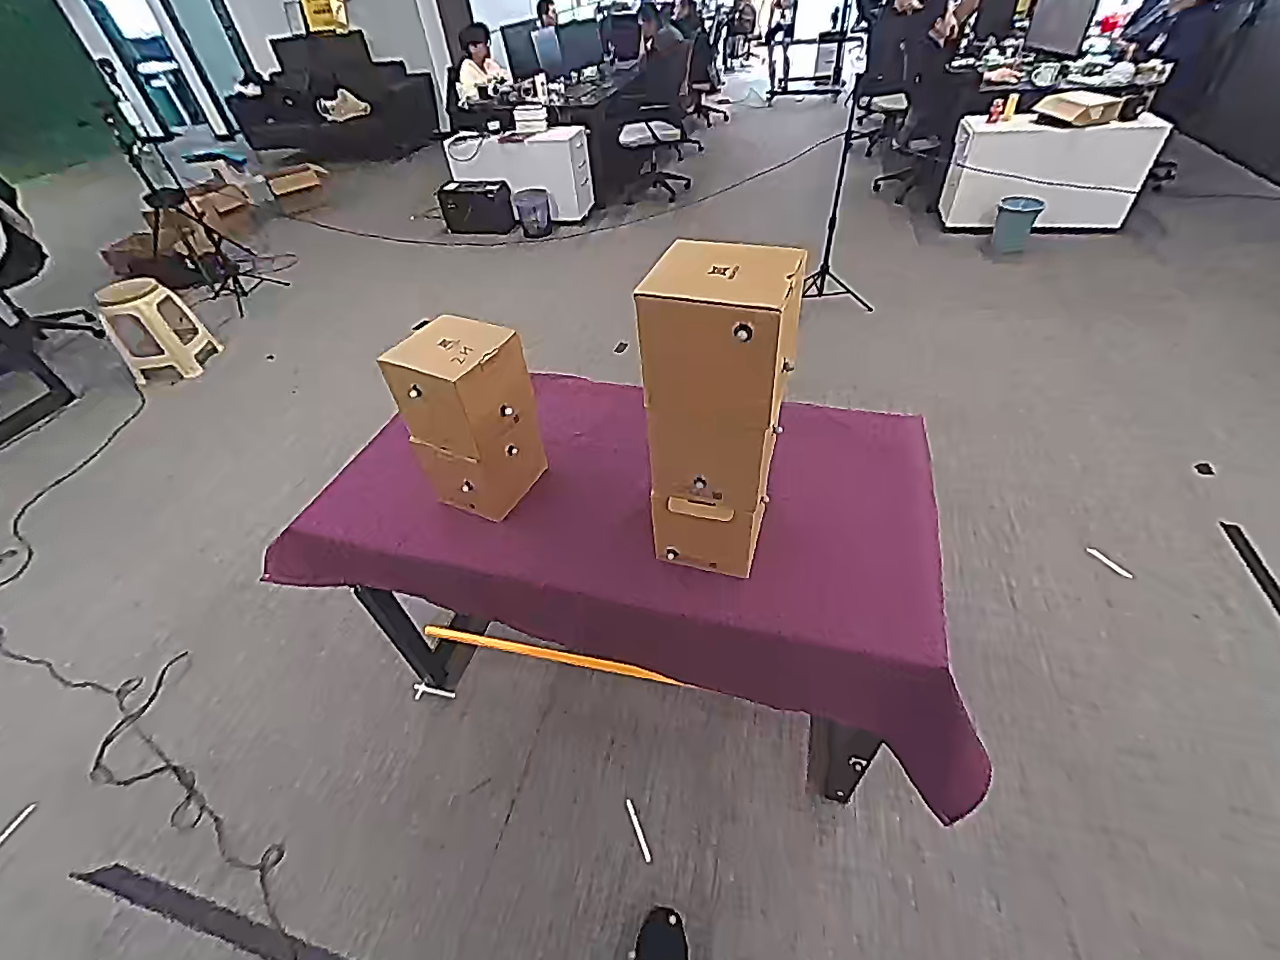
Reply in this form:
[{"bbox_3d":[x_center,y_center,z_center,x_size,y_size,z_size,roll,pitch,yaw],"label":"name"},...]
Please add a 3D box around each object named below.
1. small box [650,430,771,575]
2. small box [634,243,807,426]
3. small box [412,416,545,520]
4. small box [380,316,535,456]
[{"bbox_3d":[0.126,0.039,0.939,0.168,0.176,0.179,10,45,16],"label":"small box"},{"bbox_3d":[0.106,-0.191,0.709,0.179,0.176,0.168,13,47,18],"label":"small box"},{"bbox_3d":[-0.309,-0.048,1.078,0.168,0.176,0.179,17,48,21],"label":"small box"},{"bbox_3d":[-0.314,-0.166,0.963,0.179,0.176,0.168,18,50,22],"label":"small box"}]
